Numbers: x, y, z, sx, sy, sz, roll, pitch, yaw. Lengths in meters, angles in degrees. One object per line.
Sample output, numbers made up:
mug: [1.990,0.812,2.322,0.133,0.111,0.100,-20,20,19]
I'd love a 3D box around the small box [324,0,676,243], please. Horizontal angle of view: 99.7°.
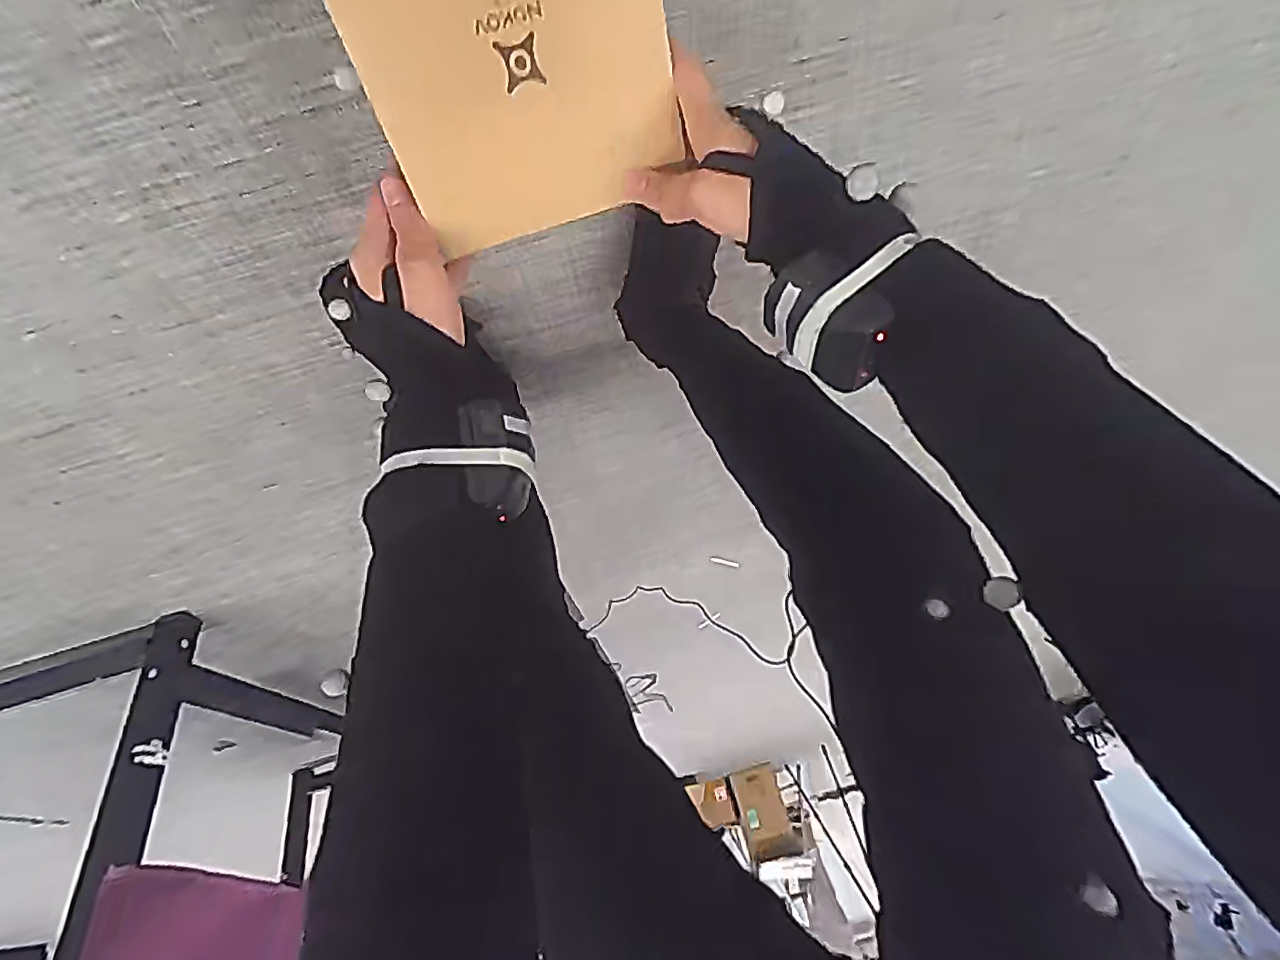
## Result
small box: [-0.089,-0.283,0.343,0.168,0.176,0.179,-19,132,-3]
